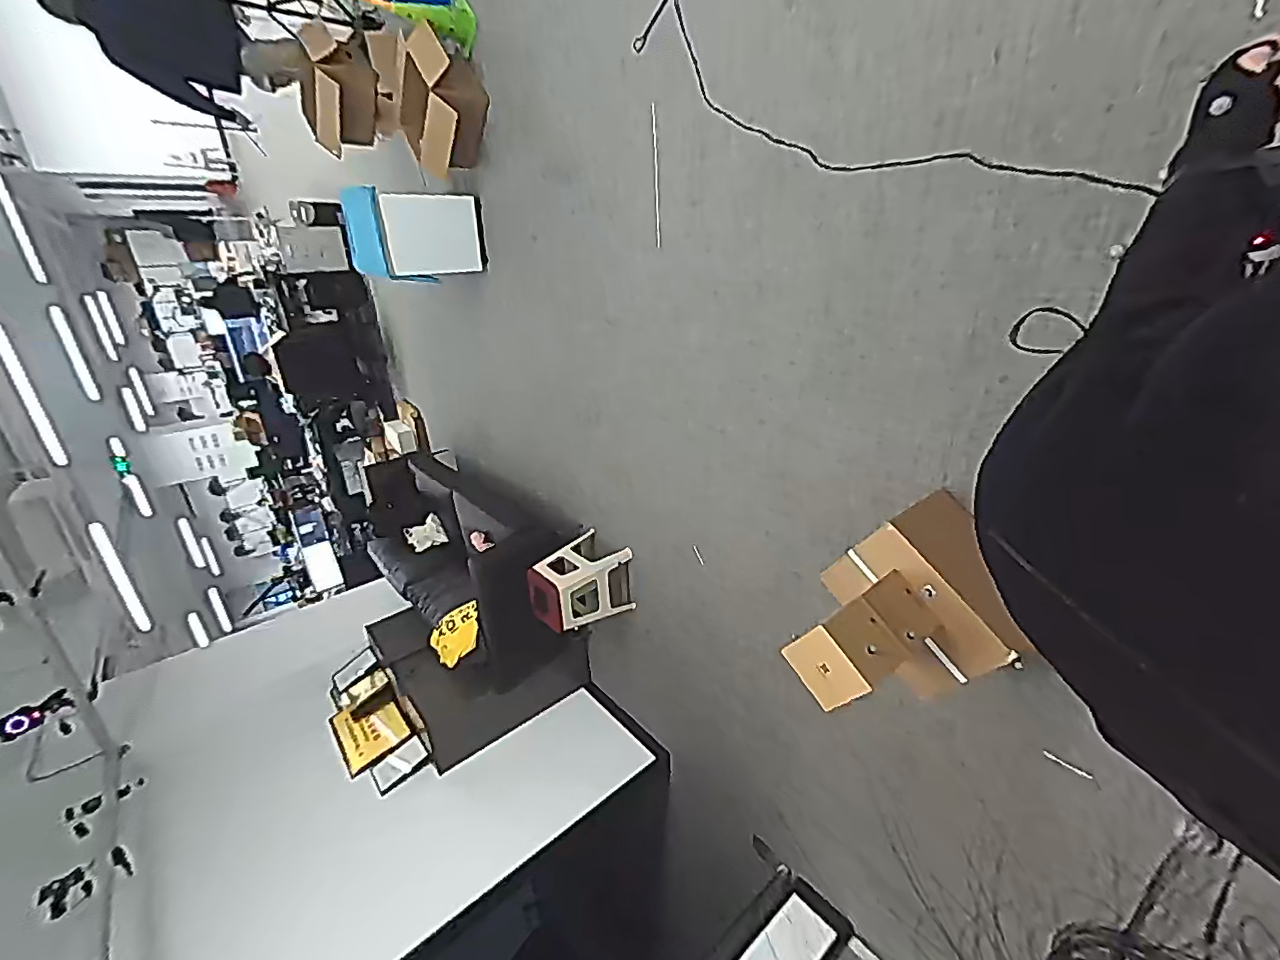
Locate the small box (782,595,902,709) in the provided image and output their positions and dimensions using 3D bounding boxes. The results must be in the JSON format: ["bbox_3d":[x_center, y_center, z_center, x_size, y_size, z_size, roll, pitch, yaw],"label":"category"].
[{"bbox_3d":[0.476,0.397,1.260,0.168,0.176,0.179,54,144,21],"label":"small box"}]
